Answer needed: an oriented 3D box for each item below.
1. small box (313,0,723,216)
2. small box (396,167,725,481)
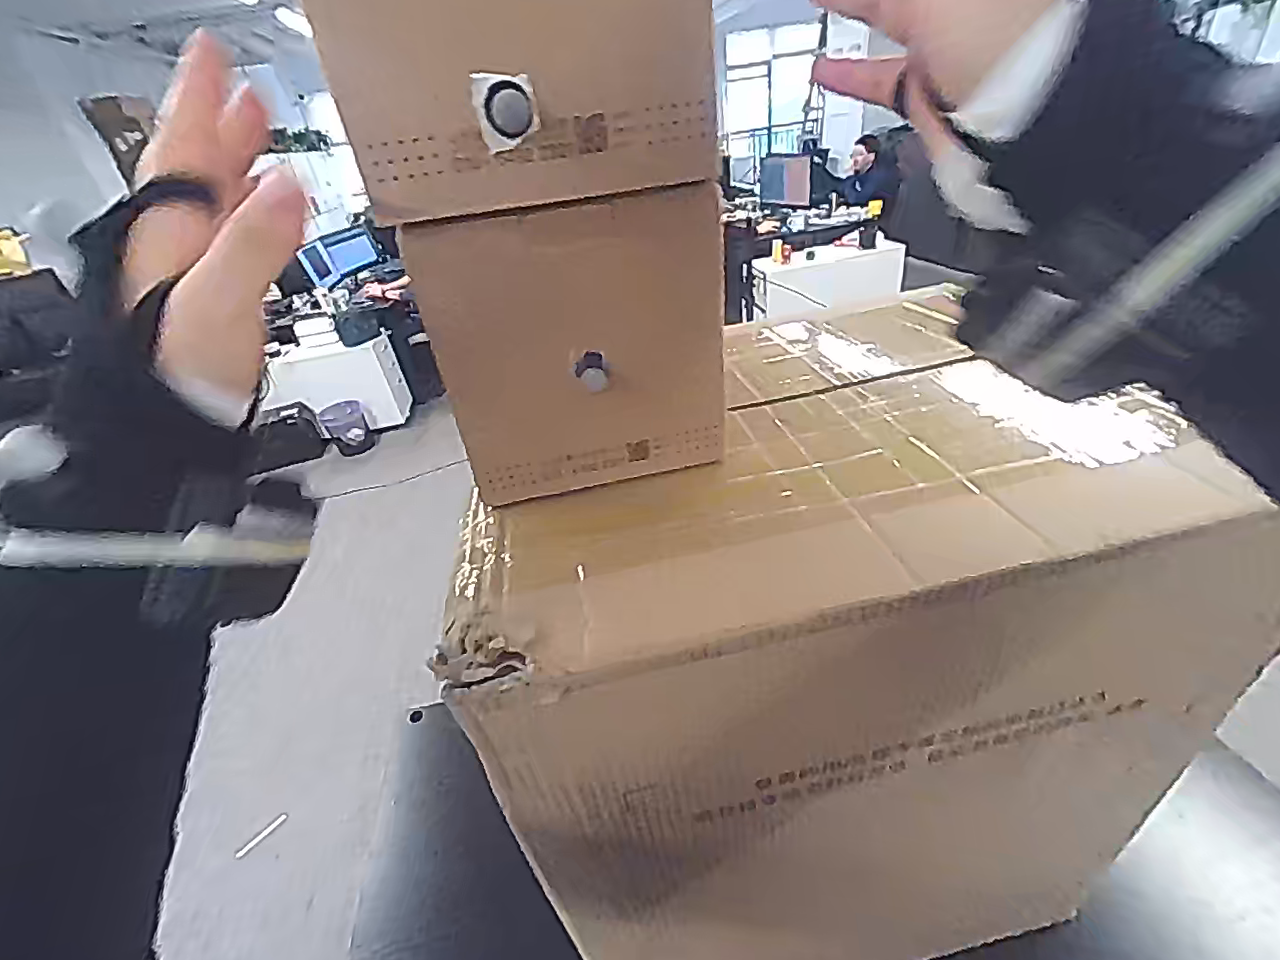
[{"bbox_3d":[-0.064,-0.242,0.277,0.168,0.176,0.179,-14,33,-6],"label":"small box"},{"bbox_3d":[-0.044,-0.112,0.376,0.168,0.176,0.179,-12,33,-6],"label":"small box"}]
